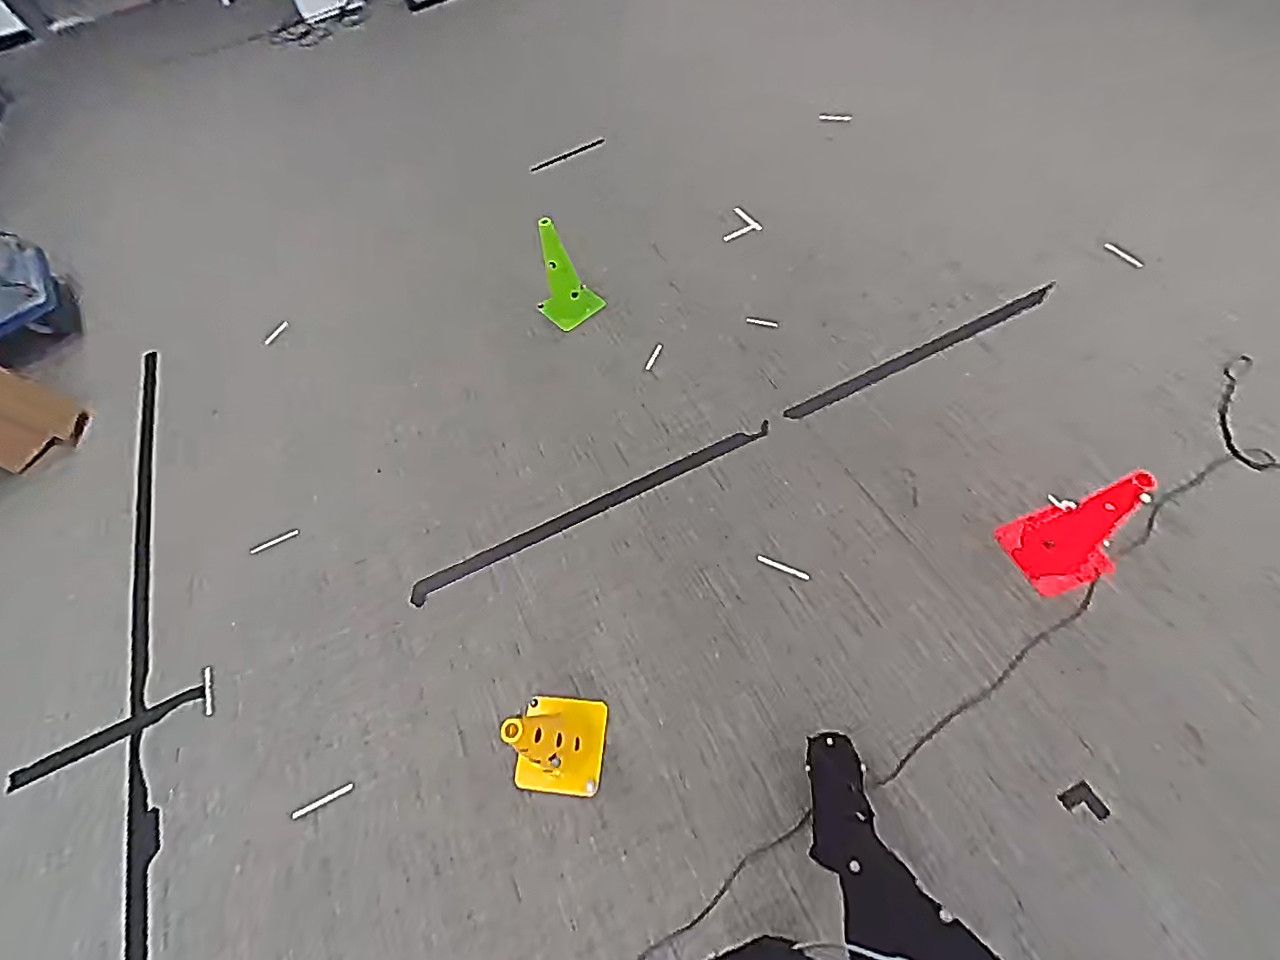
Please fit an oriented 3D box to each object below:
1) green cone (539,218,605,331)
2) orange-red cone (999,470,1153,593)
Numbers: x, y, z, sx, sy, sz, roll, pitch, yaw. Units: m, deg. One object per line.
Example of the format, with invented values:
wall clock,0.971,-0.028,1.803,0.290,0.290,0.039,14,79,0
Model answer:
green cone,-0.281,-0.746,1.911,0.202,0.368,0.200,-39,62,-15
orange-red cone,1.008,0.085,1.203,0.199,0.360,0.198,-20,58,-1
